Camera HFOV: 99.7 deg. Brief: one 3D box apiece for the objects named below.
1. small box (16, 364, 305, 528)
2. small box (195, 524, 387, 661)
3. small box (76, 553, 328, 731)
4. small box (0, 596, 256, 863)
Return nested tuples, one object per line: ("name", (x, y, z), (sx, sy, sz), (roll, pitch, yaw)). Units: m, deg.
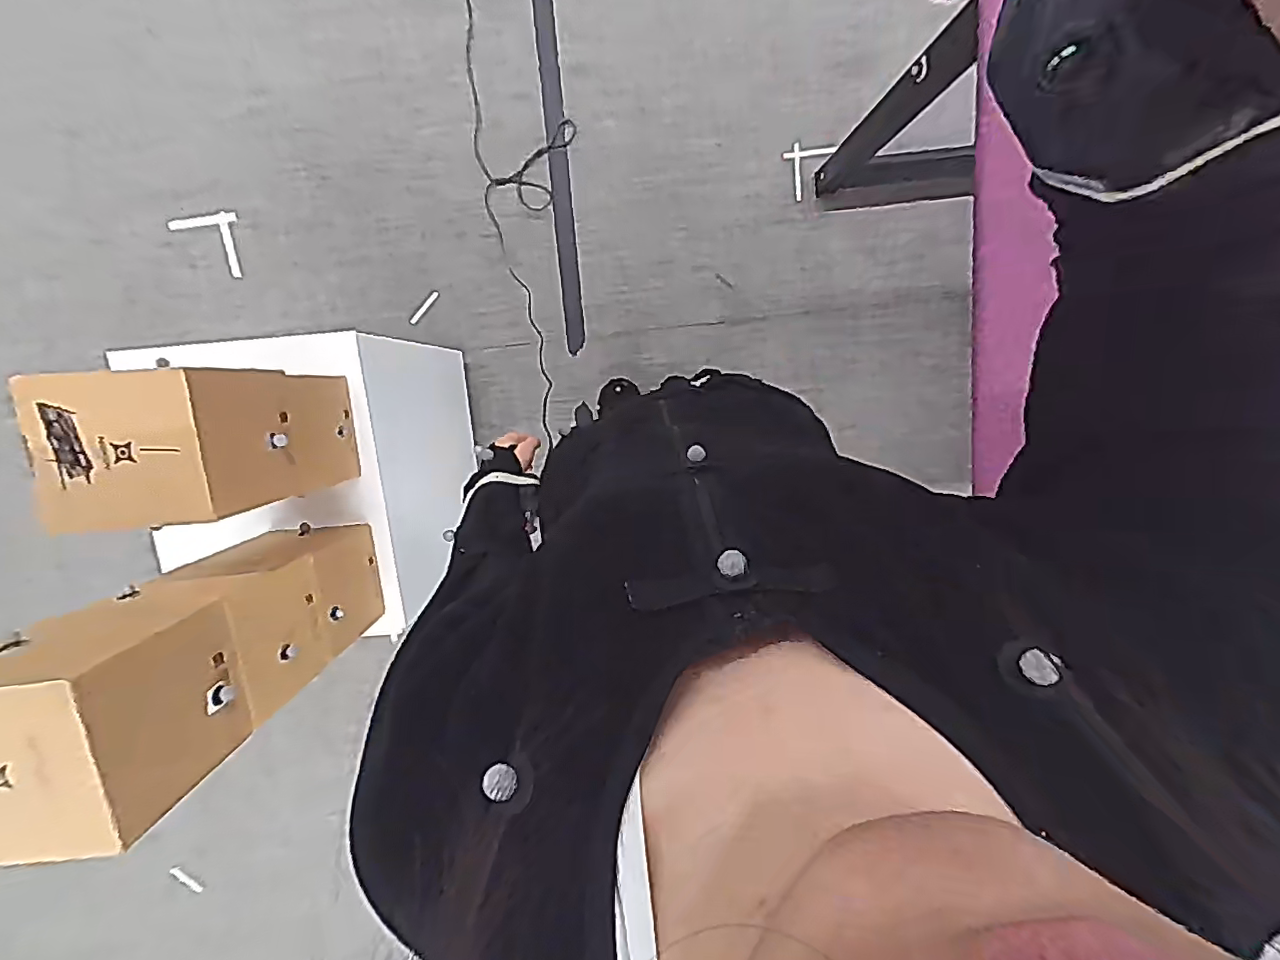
("small box", (-0.536, -0.046, 0.633), (0.179, 0.176, 0.168), (-3, 101, -1))
("small box", (-0.527, 0.170, 0.841), (0.179, 0.176, 0.168), (-4, 100, 1))
("small box", (-0.524, 0.198, 0.680), (0.179, 0.176, 0.168), (-6, 100, 1))
("small box", (-0.524, 0.225, 0.520), (0.179, 0.176, 0.168), (-6, 101, 0))
